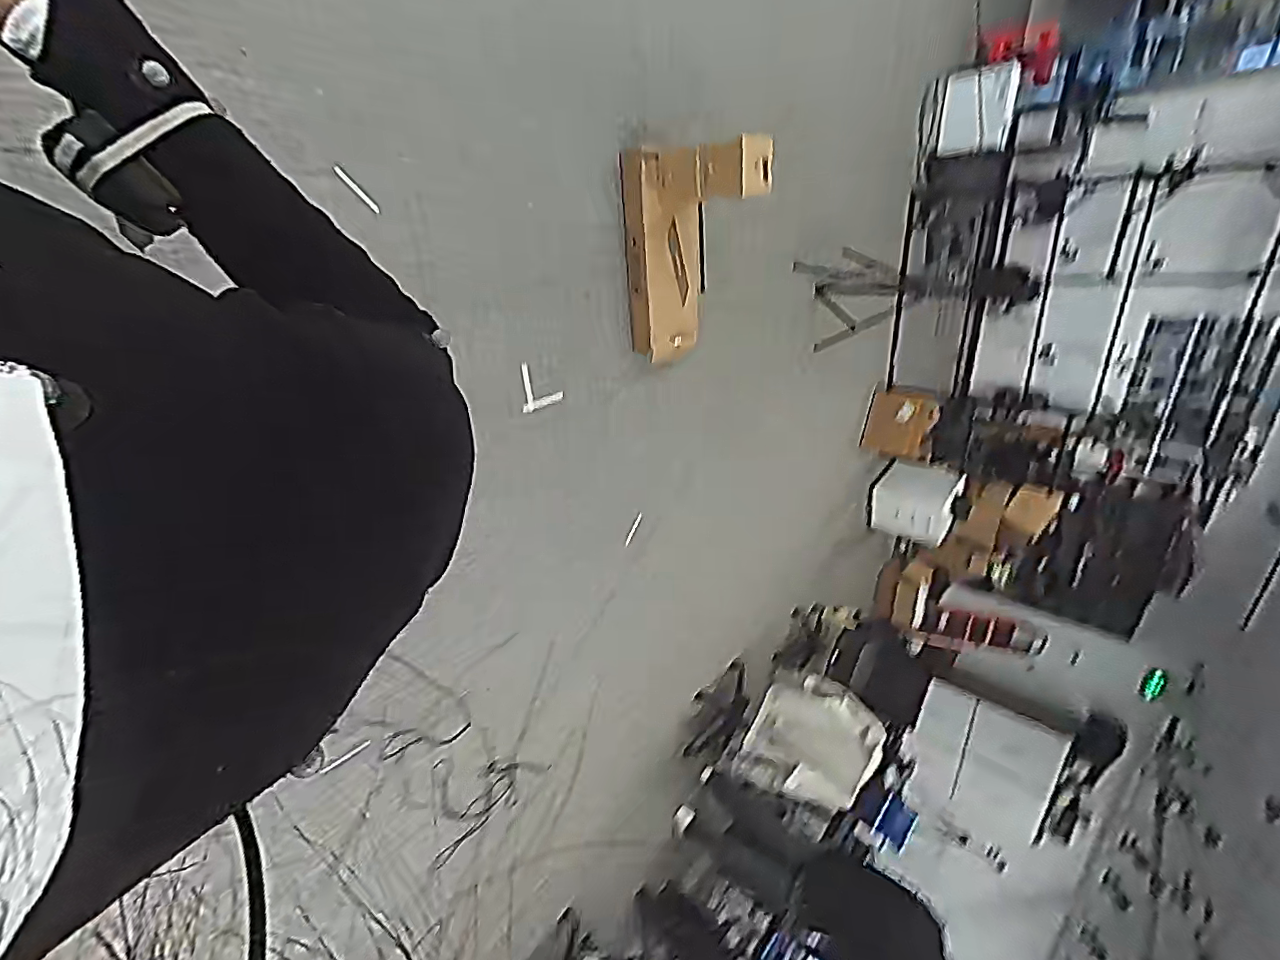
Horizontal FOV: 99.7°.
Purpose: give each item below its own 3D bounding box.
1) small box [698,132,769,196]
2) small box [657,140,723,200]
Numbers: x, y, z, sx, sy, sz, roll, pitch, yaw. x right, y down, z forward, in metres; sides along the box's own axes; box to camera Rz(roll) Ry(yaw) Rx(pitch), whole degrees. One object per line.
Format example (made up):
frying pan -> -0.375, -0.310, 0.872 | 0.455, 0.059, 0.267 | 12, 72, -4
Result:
small box -> 0.311, -1.047, 1.796 | 0.179, 0.176, 0.168 | -30, 125, -39
small box -> 0.179, -1.079, 1.890 | 0.179, 0.176, 0.168 | -29, 124, -40
